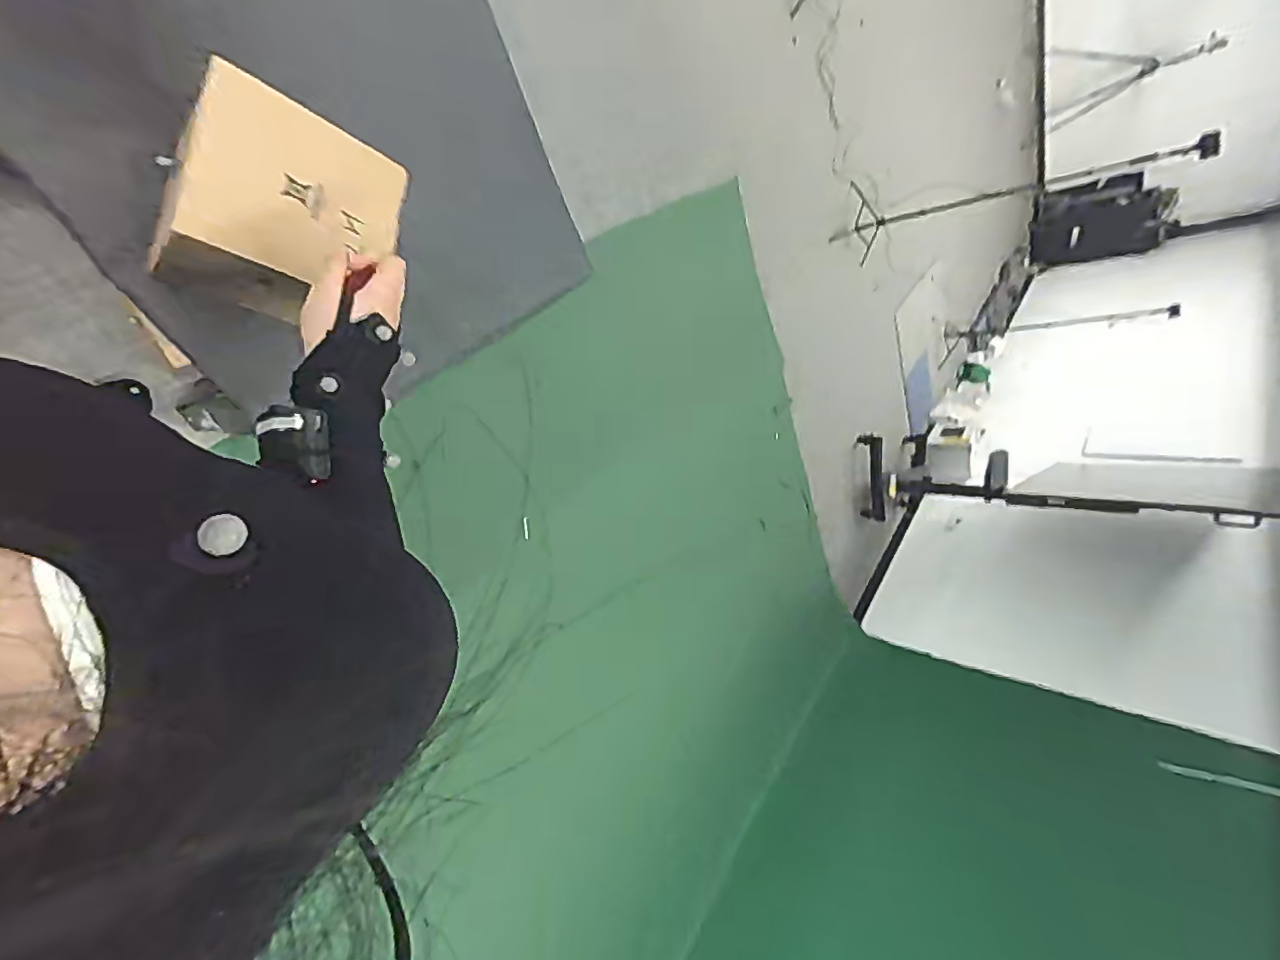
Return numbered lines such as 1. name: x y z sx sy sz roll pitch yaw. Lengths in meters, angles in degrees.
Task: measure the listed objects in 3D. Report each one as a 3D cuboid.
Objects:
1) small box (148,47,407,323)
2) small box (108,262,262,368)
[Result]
1. small box: -0.379 -0.279 0.567 0.179 0.176 0.168 16 81 -47
2. small box: -0.905 -0.333 1.074 0.168 0.176 0.179 -39 122 -36
